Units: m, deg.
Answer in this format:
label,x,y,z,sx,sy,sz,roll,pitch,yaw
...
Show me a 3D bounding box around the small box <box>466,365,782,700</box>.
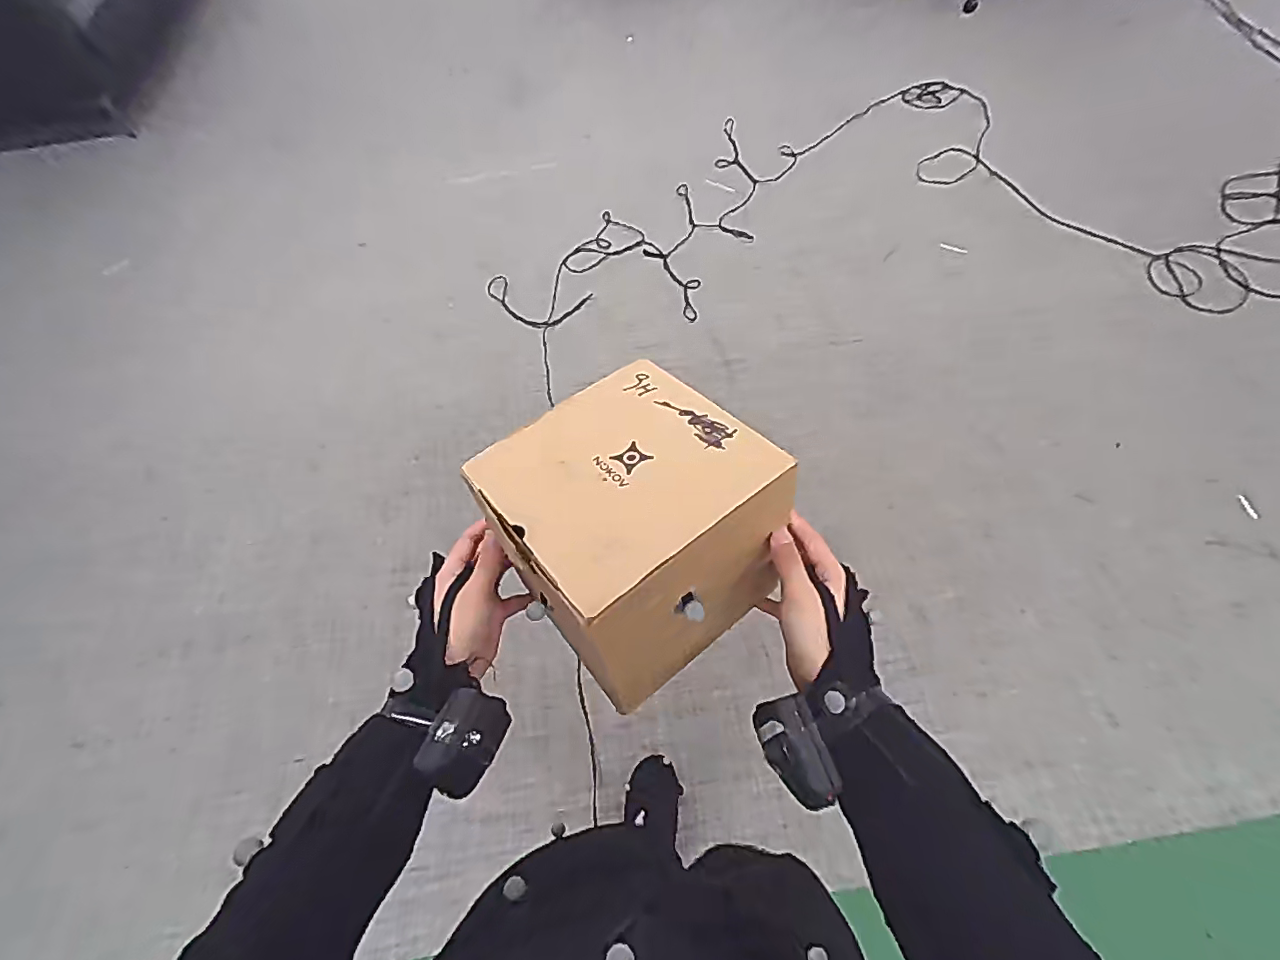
label,x,y,z,sx,sy,sz,roll,pitch,yaw
small box,-0.005,0.044,0.444,0.179,0.176,0.168,-34,53,-19
